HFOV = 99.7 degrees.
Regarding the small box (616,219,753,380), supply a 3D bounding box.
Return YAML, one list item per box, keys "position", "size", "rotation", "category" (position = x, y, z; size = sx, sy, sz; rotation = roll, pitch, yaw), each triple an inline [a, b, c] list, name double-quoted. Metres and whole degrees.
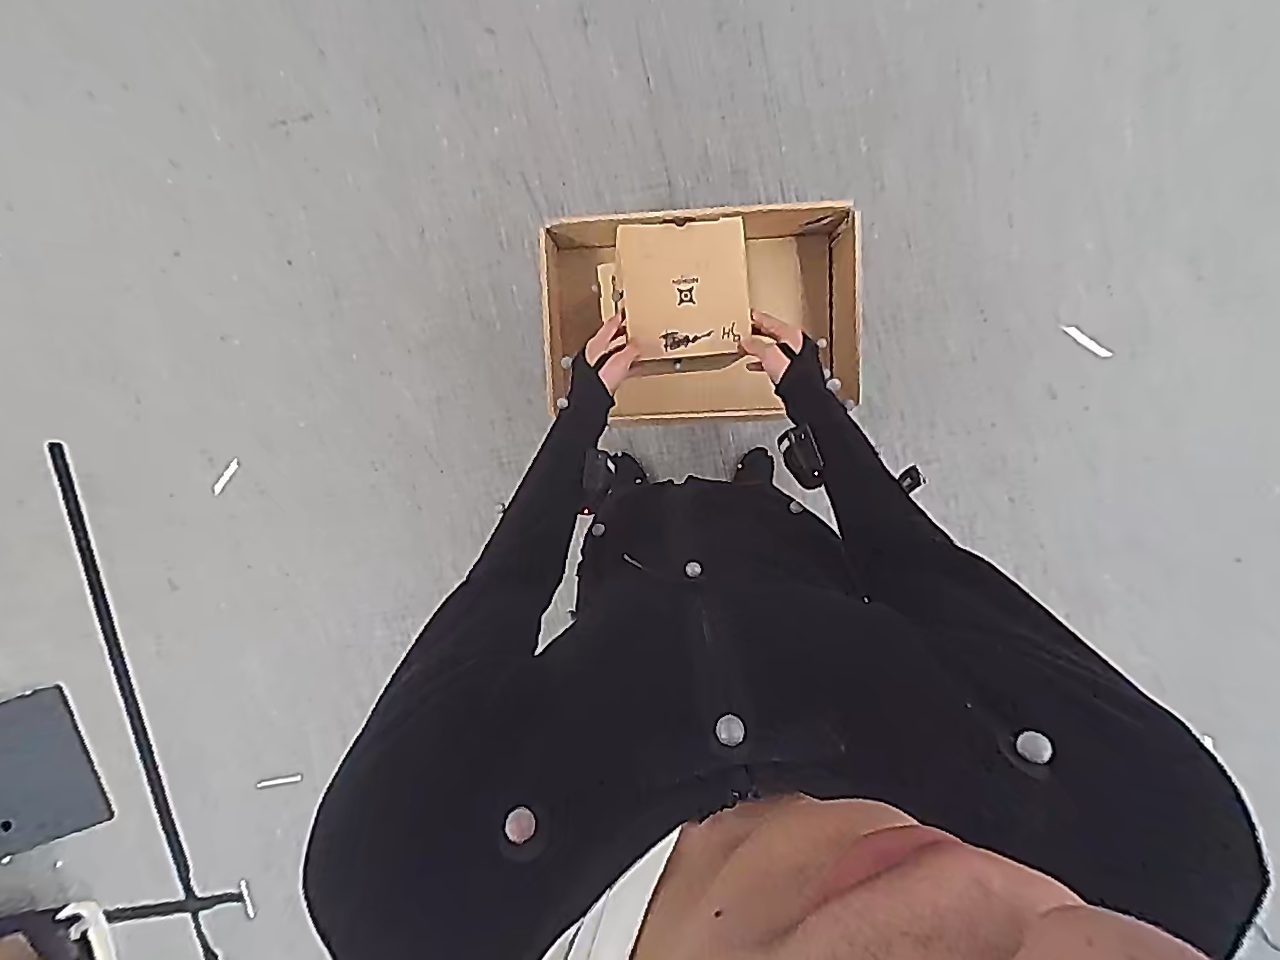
- position: [0.055, -0.248, 0.776]
  size: [0.168, 0.176, 0.179]
  rotation: [-5, 93, -3]
  category: "small box"
